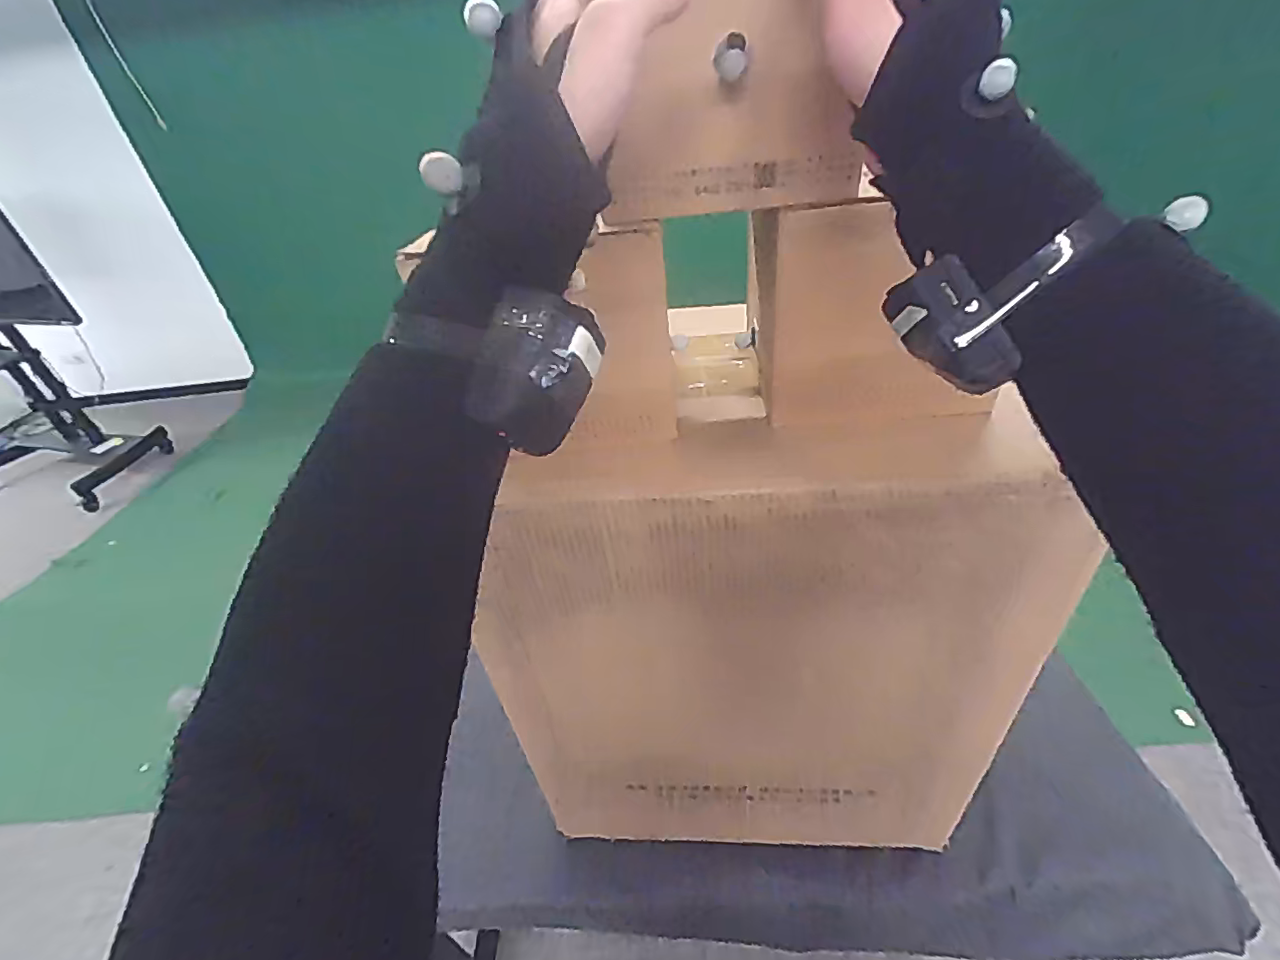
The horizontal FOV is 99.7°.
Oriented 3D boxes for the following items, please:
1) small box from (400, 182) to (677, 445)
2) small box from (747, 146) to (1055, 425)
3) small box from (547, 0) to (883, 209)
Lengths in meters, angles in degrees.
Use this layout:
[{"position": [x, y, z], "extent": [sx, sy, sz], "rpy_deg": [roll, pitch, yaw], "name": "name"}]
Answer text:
[{"position": [-0.064, -0.143, 0.469], "extent": [0.179, 0.176, 0.168], "rpy_deg": [-3, 41, 7], "name": "small box"}, {"position": [0.186, -0.161, 0.453], "extent": [0.179, 0.176, 0.168], "rpy_deg": [-4, 38, 7], "name": "small box"}, {"position": [0.050, -0.301, 0.374], "extent": [0.179, 0.176, 0.168], "rpy_deg": [-24, 40, -19], "name": "small box"}]
